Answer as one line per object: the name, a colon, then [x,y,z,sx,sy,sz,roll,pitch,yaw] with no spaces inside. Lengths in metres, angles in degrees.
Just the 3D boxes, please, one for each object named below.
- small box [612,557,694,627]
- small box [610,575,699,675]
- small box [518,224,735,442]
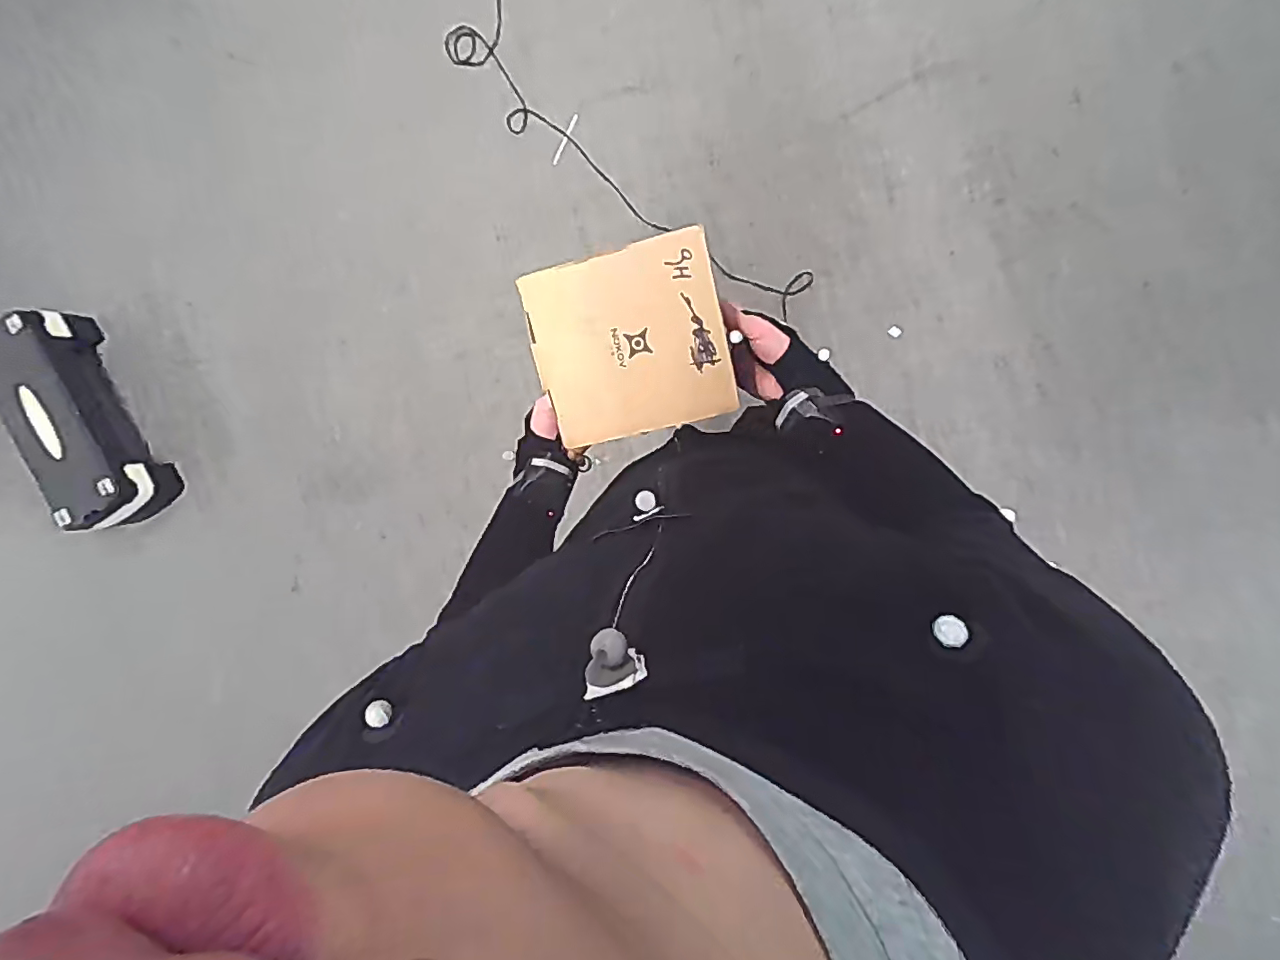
small box: [0.045,0.344,1.518,0.168,0.176,0.179,28,100,5]
small box: [0.043,0.353,1.352,0.179,0.176,0.168,16,100,6]
small box: [0.001,-0.148,0.568,0.179,0.176,0.168,-10,105,12]
